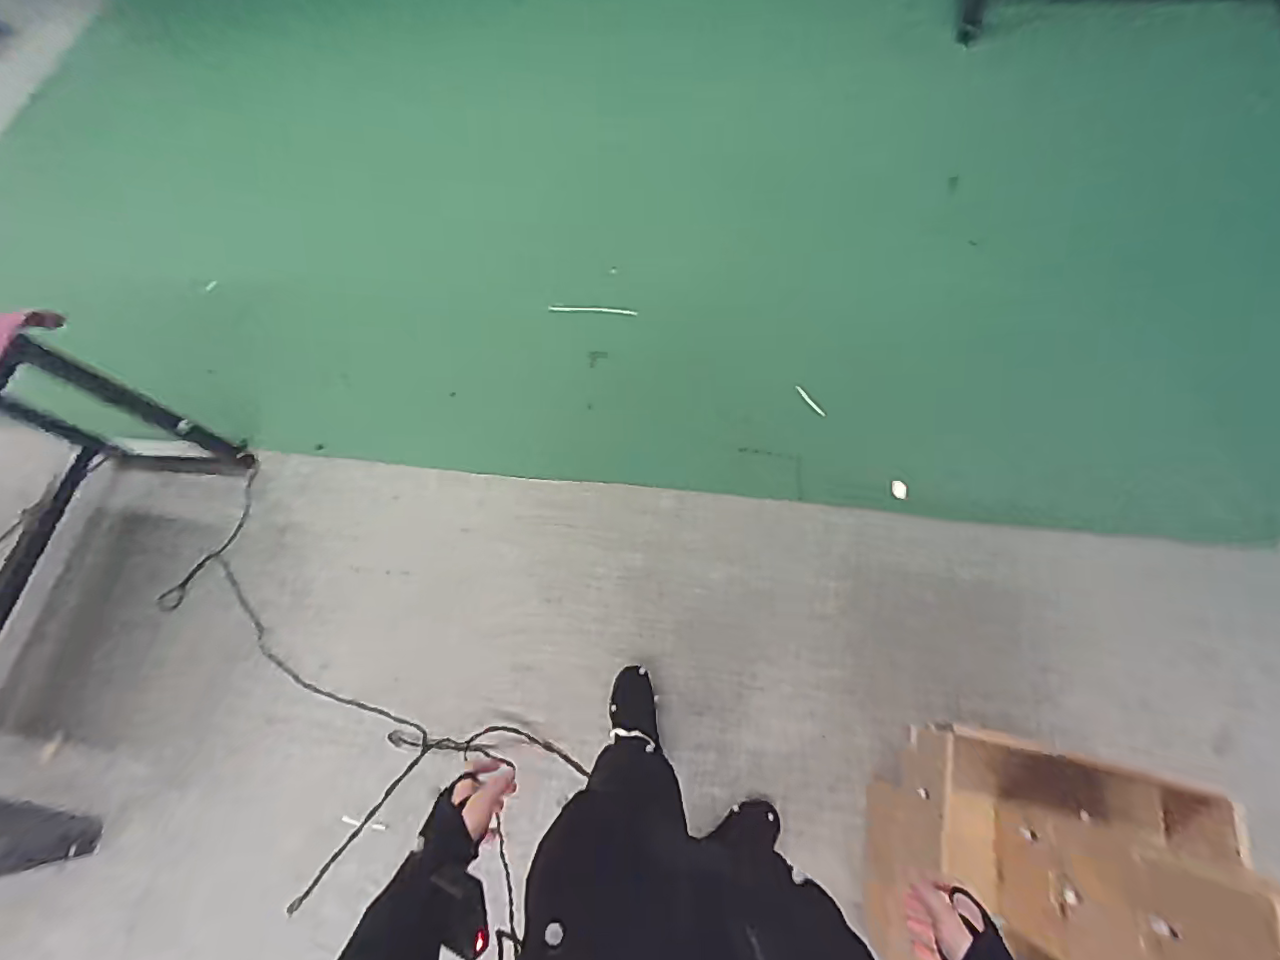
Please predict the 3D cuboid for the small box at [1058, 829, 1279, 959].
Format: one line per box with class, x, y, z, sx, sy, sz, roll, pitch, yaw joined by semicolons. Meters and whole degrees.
small box;0.634;0.535;0.631;0.179;0.176;0.168;10;70;11
